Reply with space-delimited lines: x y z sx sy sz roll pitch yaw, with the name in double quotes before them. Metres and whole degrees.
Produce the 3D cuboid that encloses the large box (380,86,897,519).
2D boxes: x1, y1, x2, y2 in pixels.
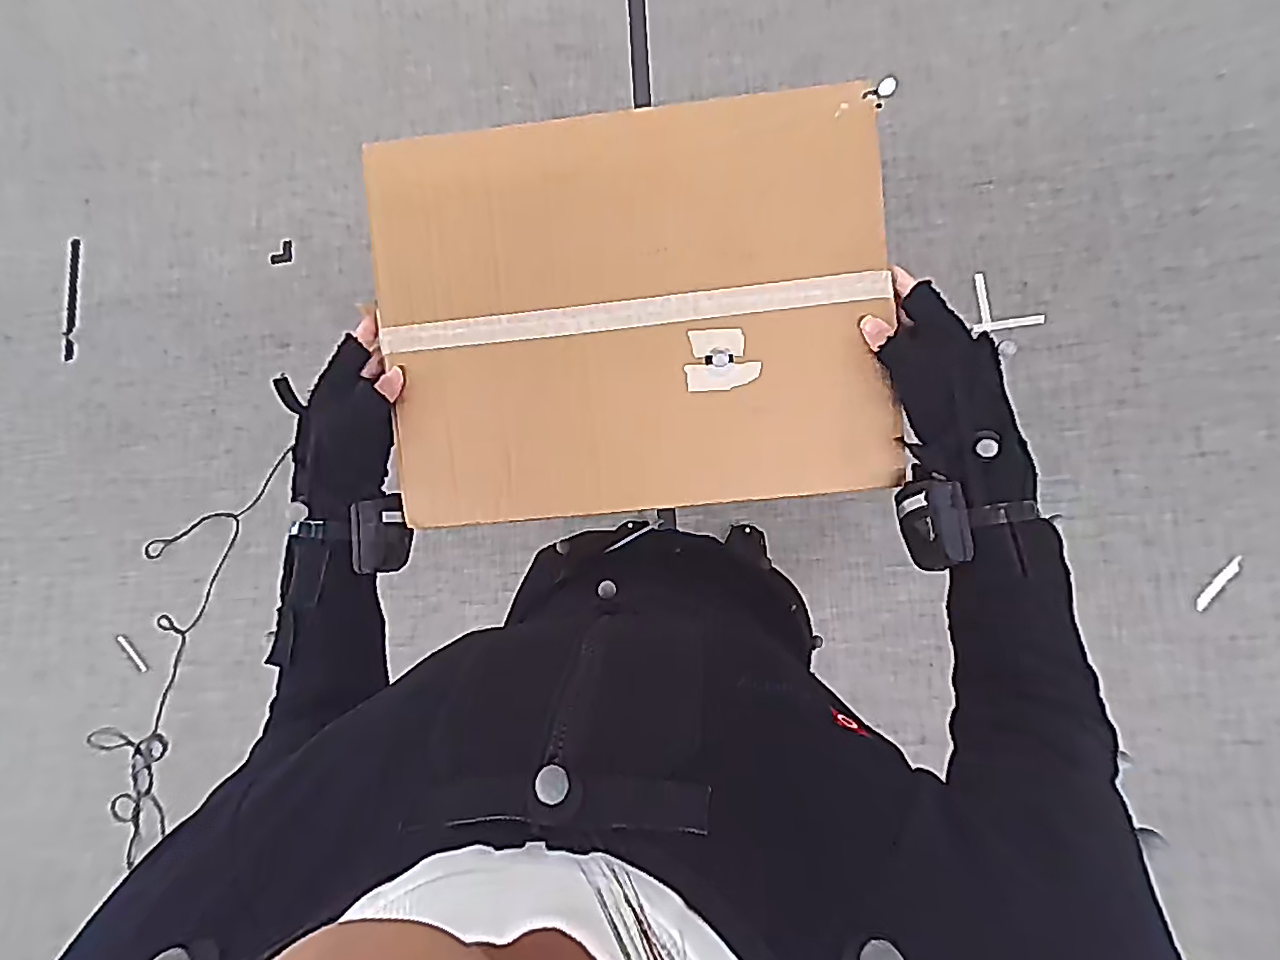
"large box" 0.001 -0.146 0.591 0.408 0.320 0.320 -6 93 2
